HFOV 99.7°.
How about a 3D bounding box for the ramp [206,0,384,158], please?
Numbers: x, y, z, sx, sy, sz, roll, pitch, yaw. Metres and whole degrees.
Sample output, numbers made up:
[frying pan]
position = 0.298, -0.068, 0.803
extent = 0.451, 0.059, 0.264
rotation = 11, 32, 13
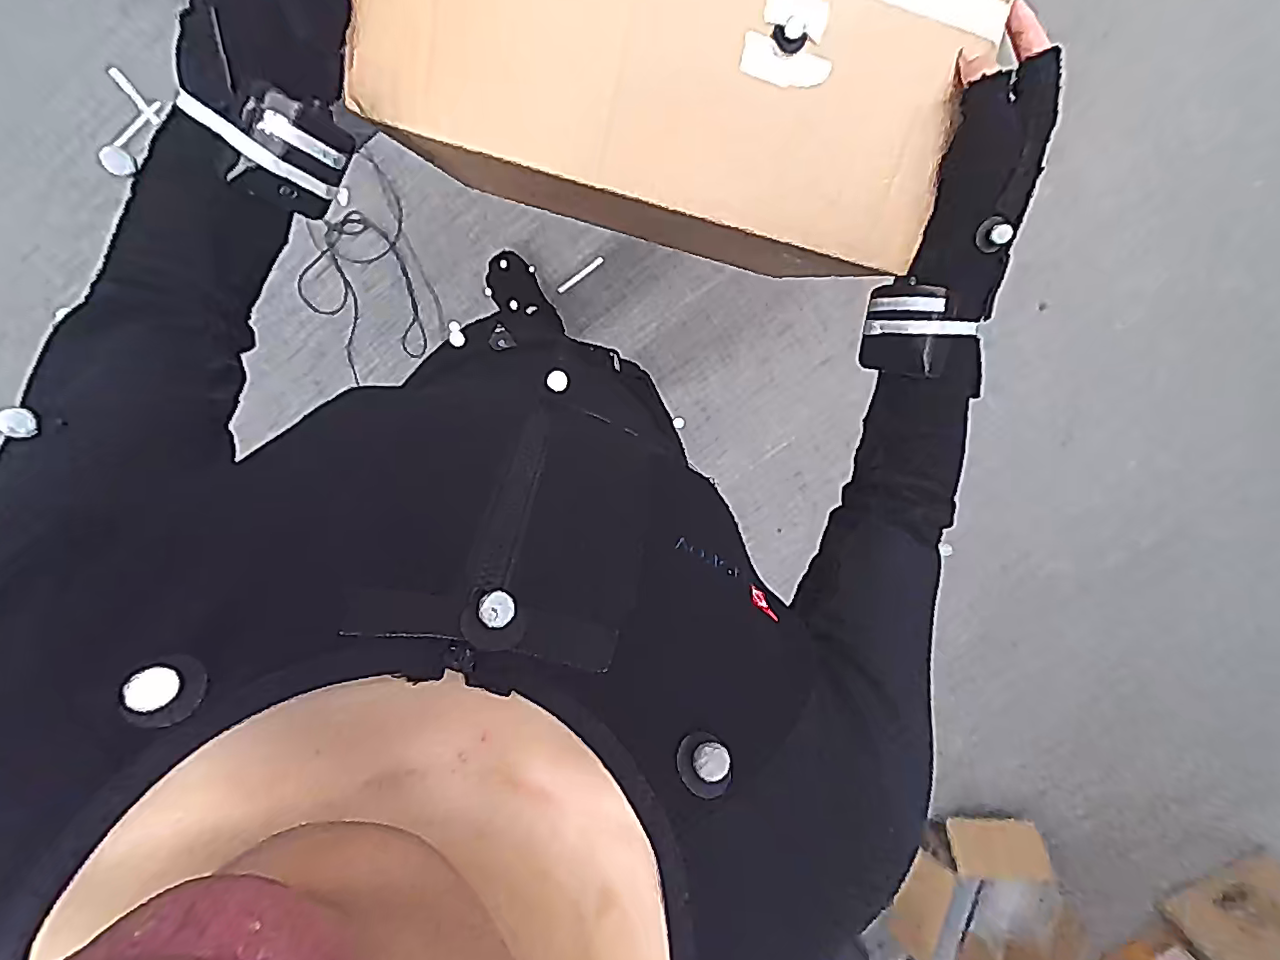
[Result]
[ramp]
position = -0.807, -1.261, 1.071
extent = 0.509, 0.206, 0.991
rotation = -38, 102, 7

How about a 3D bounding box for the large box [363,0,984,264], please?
[large box]
position = 0.026, -0.402, 0.481
extent = 0.408, 0.320, 0.320
rotation = 11, 109, -8
